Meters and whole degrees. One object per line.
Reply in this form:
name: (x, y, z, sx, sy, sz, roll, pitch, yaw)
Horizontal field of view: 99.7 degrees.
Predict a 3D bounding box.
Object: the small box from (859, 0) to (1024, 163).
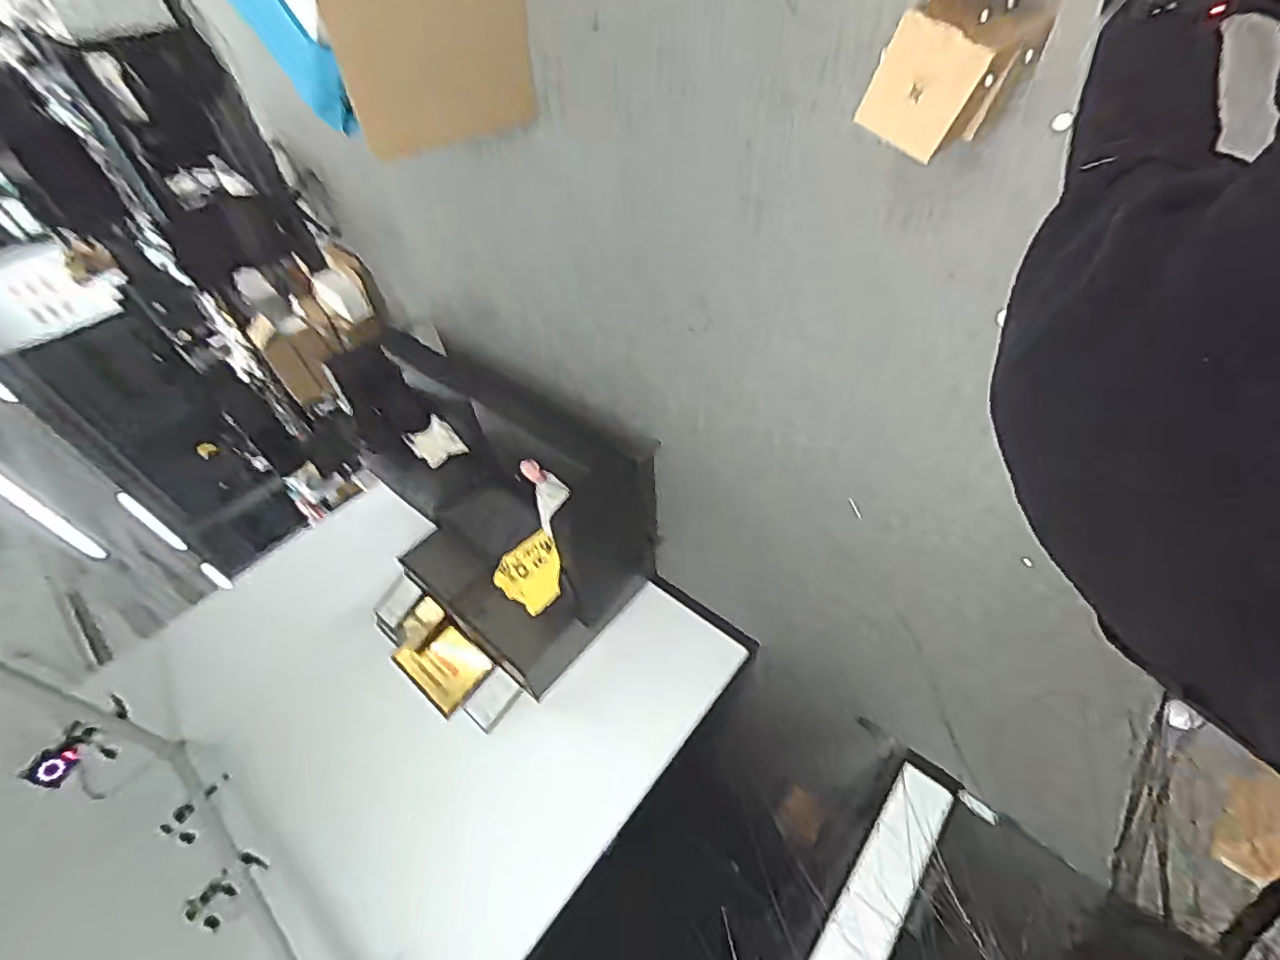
small box: (0.540, -0.717, 0.971, 0.168, 0.176, 0.179, 41, 149, 14)
